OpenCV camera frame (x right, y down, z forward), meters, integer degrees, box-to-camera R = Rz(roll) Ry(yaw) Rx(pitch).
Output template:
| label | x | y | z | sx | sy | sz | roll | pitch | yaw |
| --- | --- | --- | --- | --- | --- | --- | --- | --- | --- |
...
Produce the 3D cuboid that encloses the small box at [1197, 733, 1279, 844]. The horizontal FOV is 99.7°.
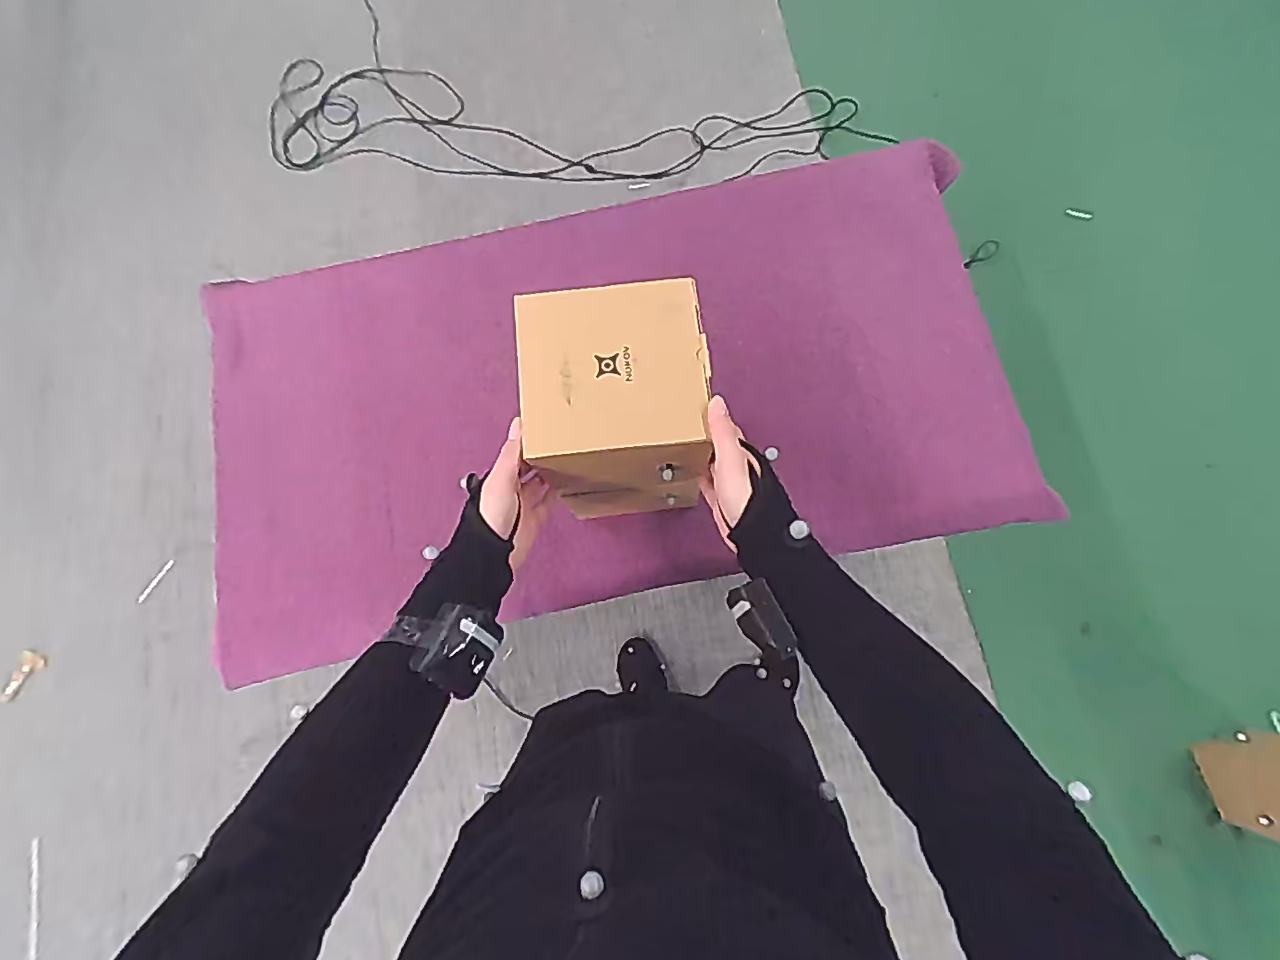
| label | x | y | z | sx | sy | sz | roll | pitch | yaw |
| --- | --- | --- | --- | --- | --- | --- | --- | --- | --- |
| small box | 1.452 | 0.703 | 1.229 | 0.168 | 0.176 | 0.179 | -14 | 77 | 0 |
